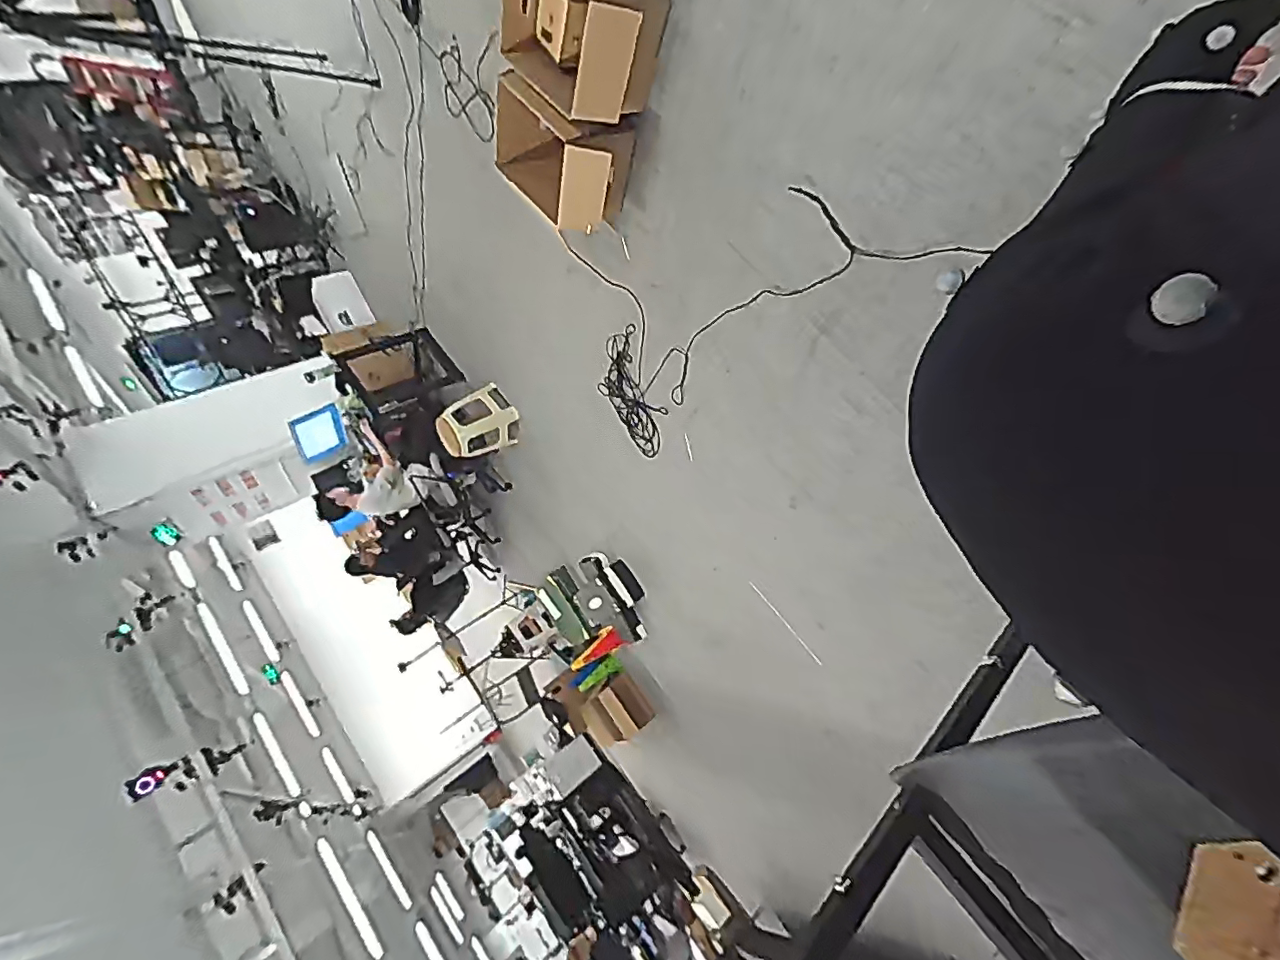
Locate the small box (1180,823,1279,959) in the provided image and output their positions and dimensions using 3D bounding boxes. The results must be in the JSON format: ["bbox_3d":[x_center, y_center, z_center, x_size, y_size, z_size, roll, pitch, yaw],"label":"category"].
[{"bbox_3d":[0.824,0.549,0.643,0.179,0.176,0.168,47,147,20],"label":"small box"}]
